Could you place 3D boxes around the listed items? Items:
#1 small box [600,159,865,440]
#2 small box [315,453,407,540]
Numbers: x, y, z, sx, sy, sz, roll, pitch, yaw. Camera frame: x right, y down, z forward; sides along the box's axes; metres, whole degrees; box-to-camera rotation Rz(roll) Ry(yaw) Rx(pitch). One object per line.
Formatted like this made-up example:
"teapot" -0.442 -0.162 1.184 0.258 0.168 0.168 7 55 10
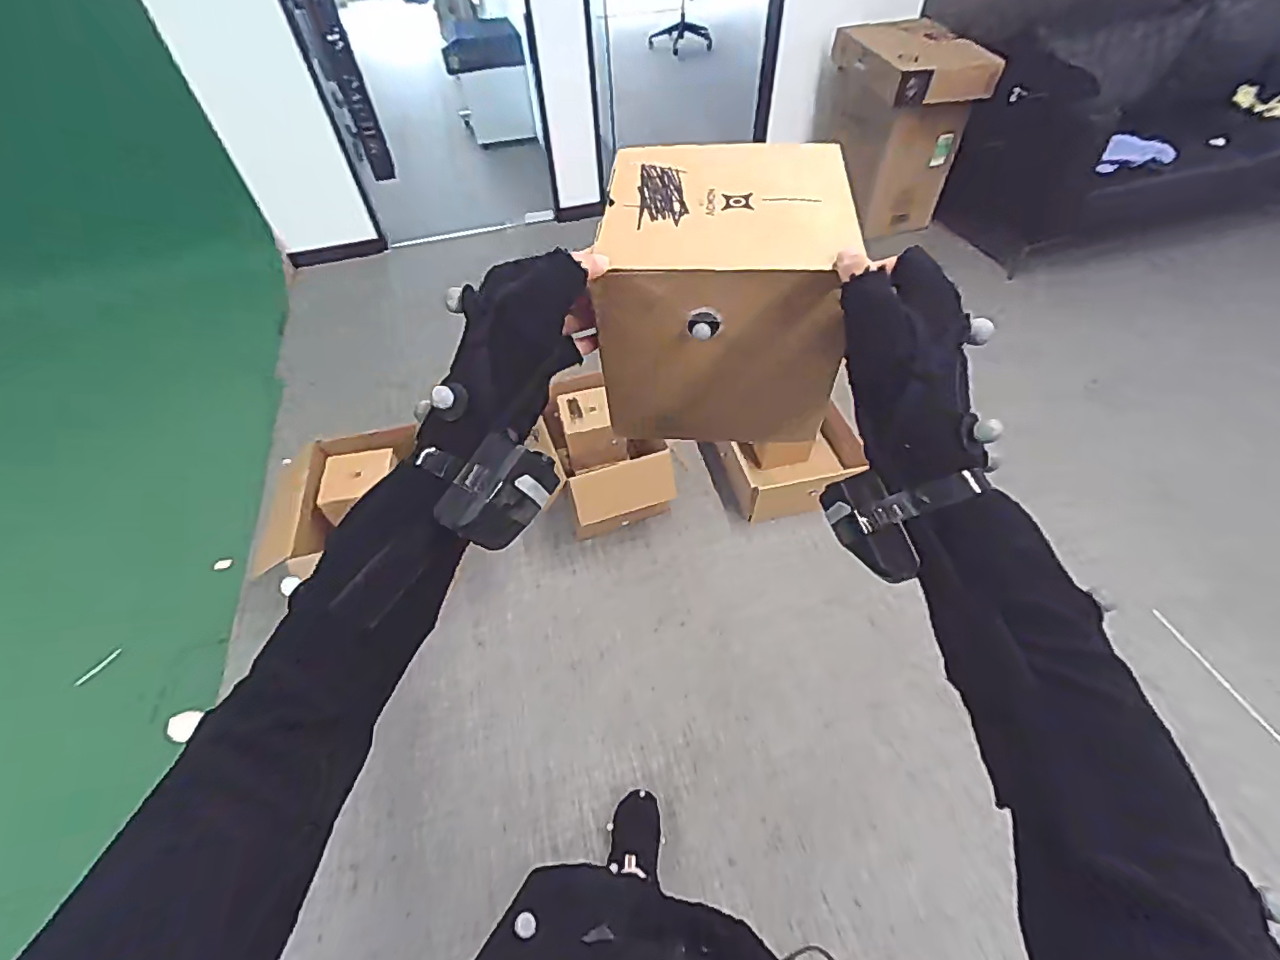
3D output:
"small box" 0.071 -0.149 0.463 0.179 0.176 0.168 3 54 5
"small box" -0.771 0.049 1.516 0.179 0.176 0.168 -9 50 -8
